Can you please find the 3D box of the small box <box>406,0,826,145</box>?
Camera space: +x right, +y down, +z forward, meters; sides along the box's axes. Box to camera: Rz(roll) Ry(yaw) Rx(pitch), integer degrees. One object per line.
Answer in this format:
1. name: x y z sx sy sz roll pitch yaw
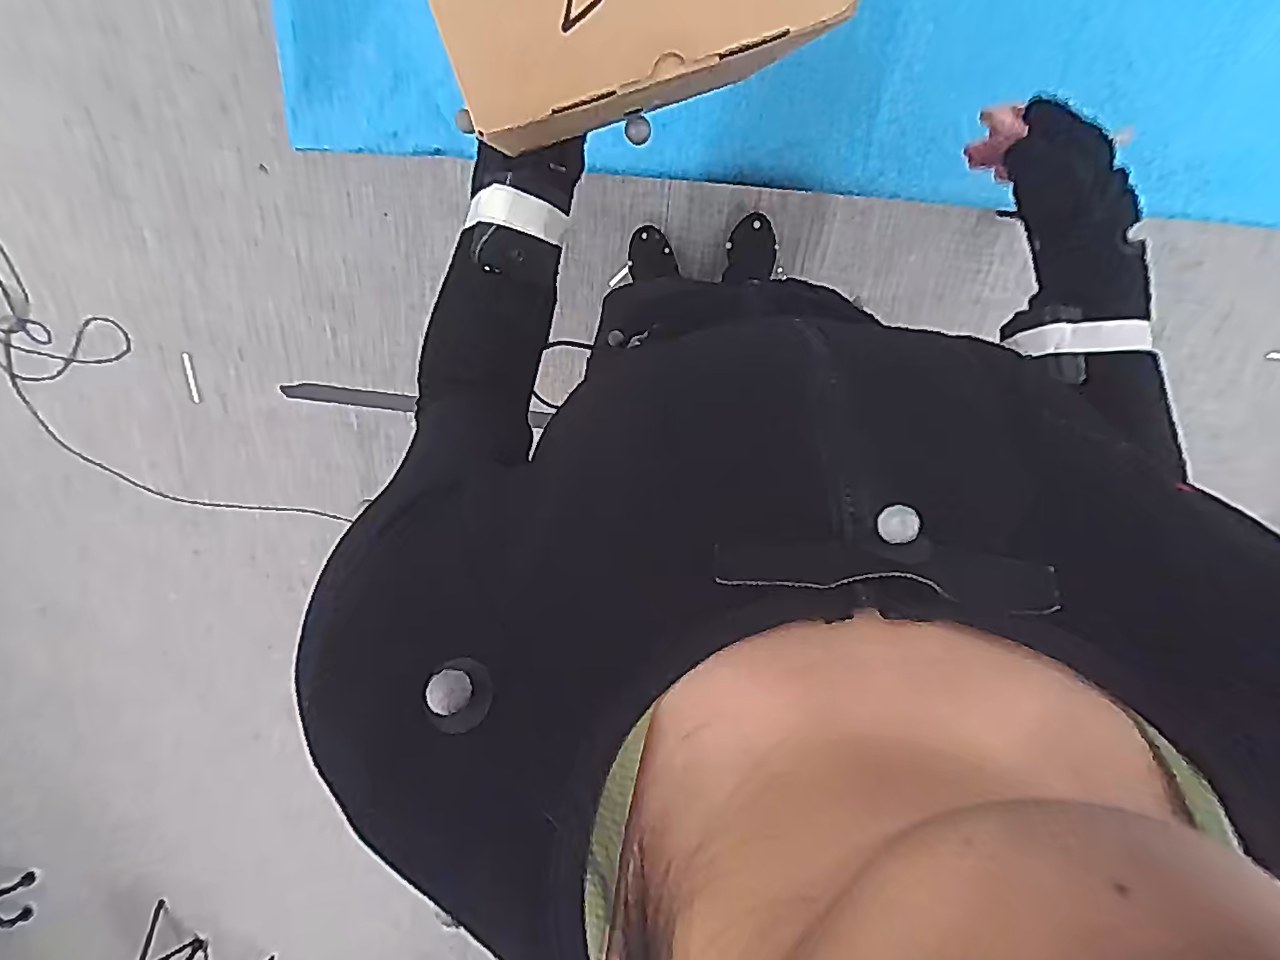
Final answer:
1. small box: -0.027 -0.273 0.251 0.168 0.176 0.179 -13 122 1
